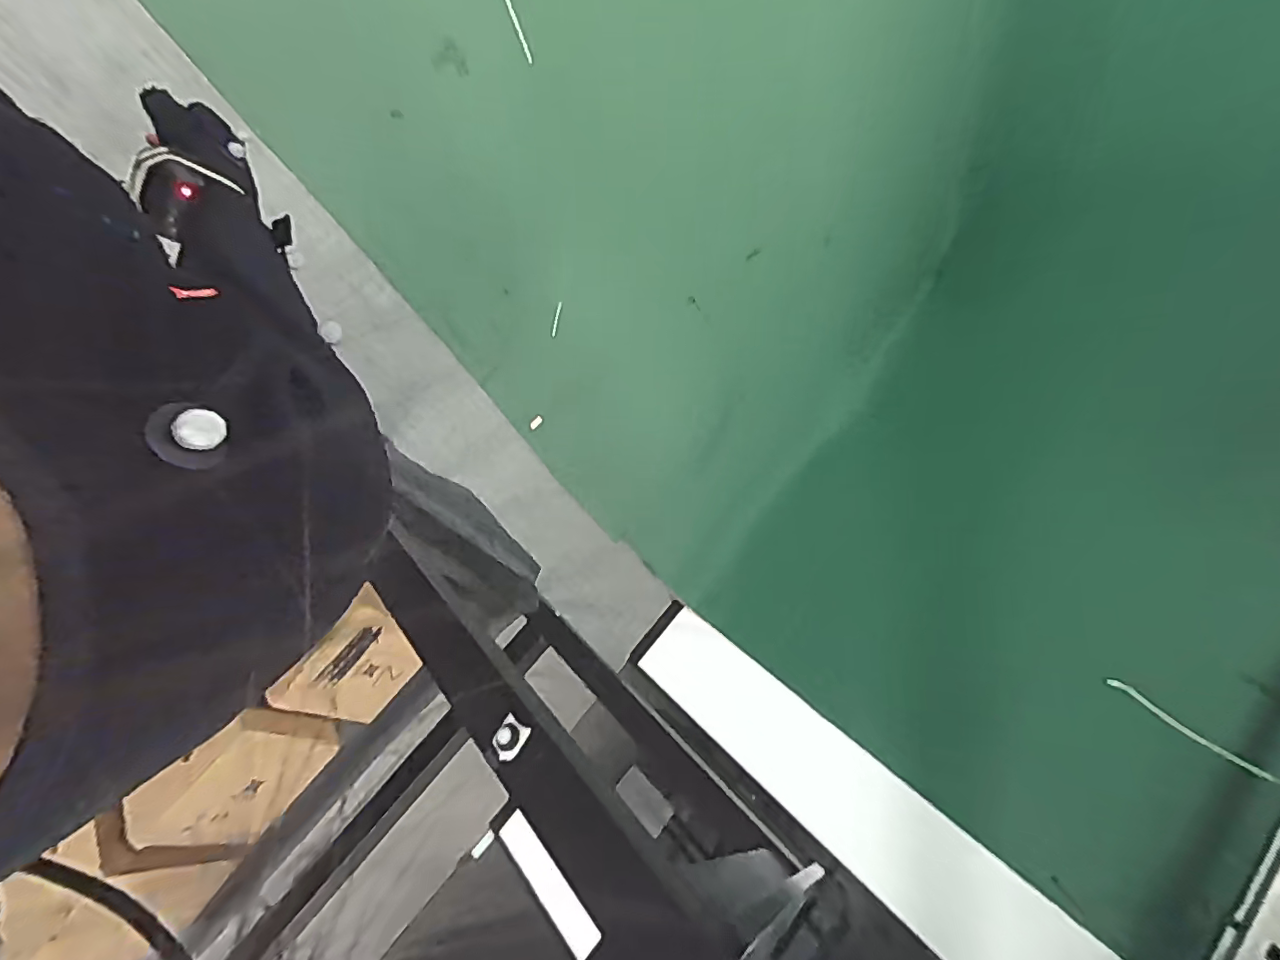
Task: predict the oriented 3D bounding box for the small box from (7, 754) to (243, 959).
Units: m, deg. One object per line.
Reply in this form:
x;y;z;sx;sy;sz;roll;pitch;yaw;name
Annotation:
-0.720;0.513;0.763;0.168;0.176;0.179;-52;145;-6;small box
